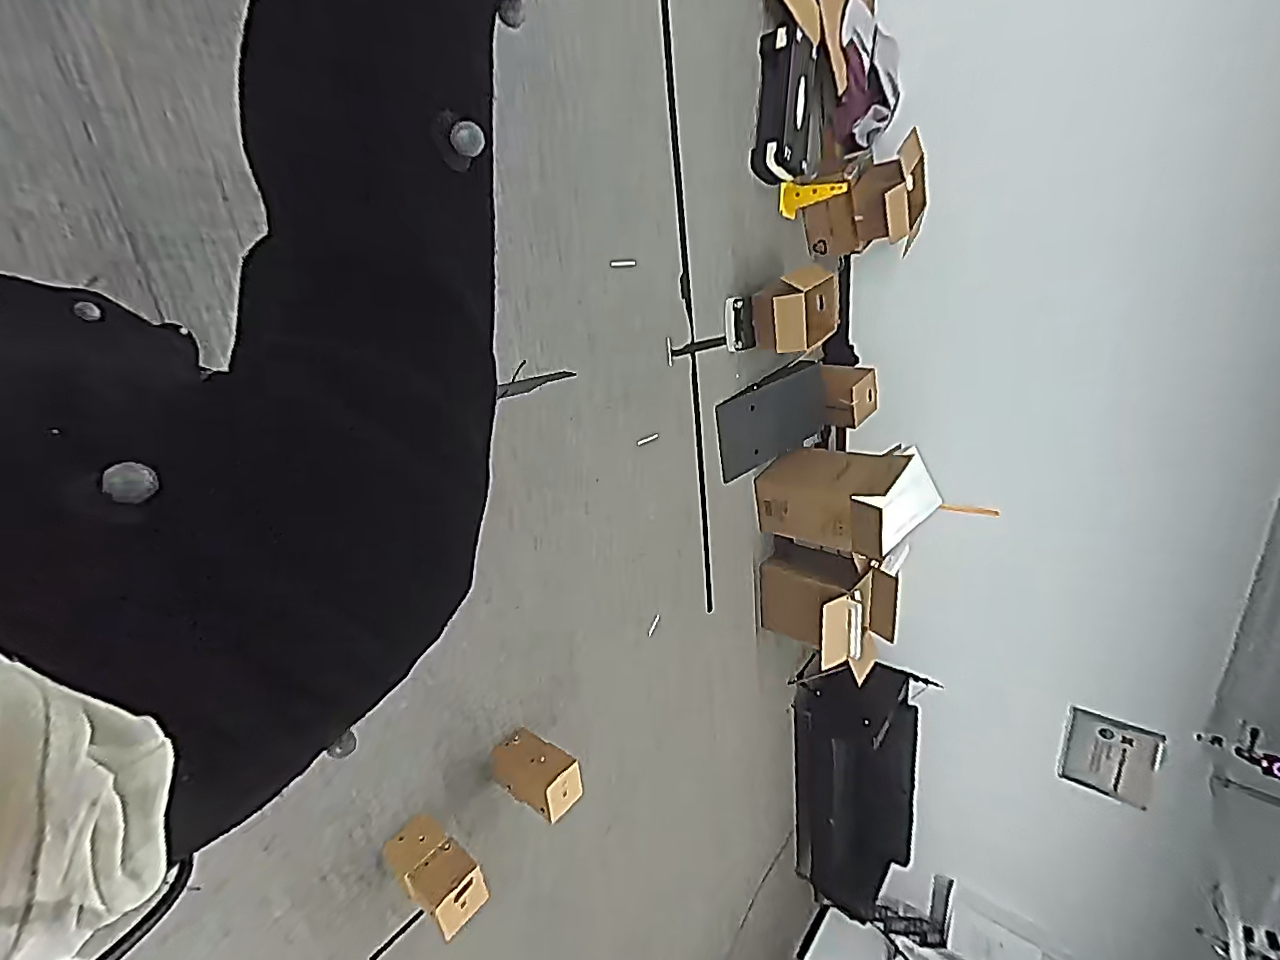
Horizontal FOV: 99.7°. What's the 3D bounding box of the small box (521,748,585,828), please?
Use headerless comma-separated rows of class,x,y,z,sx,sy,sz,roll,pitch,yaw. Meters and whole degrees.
small box,-0.338,1.181,2.086,0.168,0.176,0.179,-25,116,-46

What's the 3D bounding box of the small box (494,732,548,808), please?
small box,-0.468,1.166,2.186,0.168,0.176,0.179,-25,116,-46

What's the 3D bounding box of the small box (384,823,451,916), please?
small box,-0.757,1.338,1.877,0.168,0.176,0.179,-30,121,-43

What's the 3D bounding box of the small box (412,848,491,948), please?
small box,-0.623,1.363,1.783,0.168,0.176,0.179,-30,121,-43
